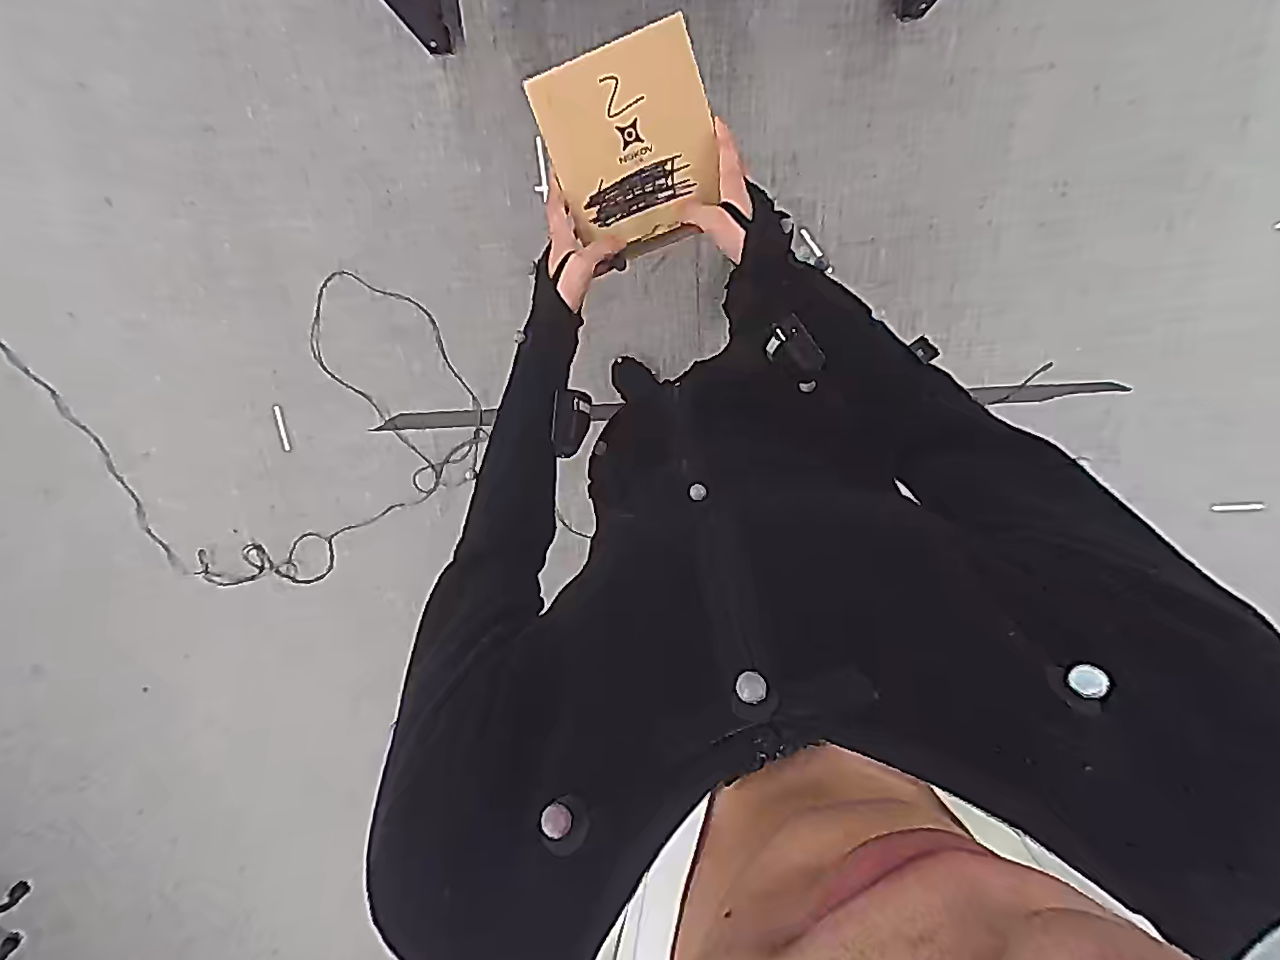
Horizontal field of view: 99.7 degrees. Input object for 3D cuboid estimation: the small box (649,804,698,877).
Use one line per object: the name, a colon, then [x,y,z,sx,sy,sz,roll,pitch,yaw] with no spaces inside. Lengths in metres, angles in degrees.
small box: [0.123,1.342,2.020,0.179,0.176,0.168,-2,109,3]
